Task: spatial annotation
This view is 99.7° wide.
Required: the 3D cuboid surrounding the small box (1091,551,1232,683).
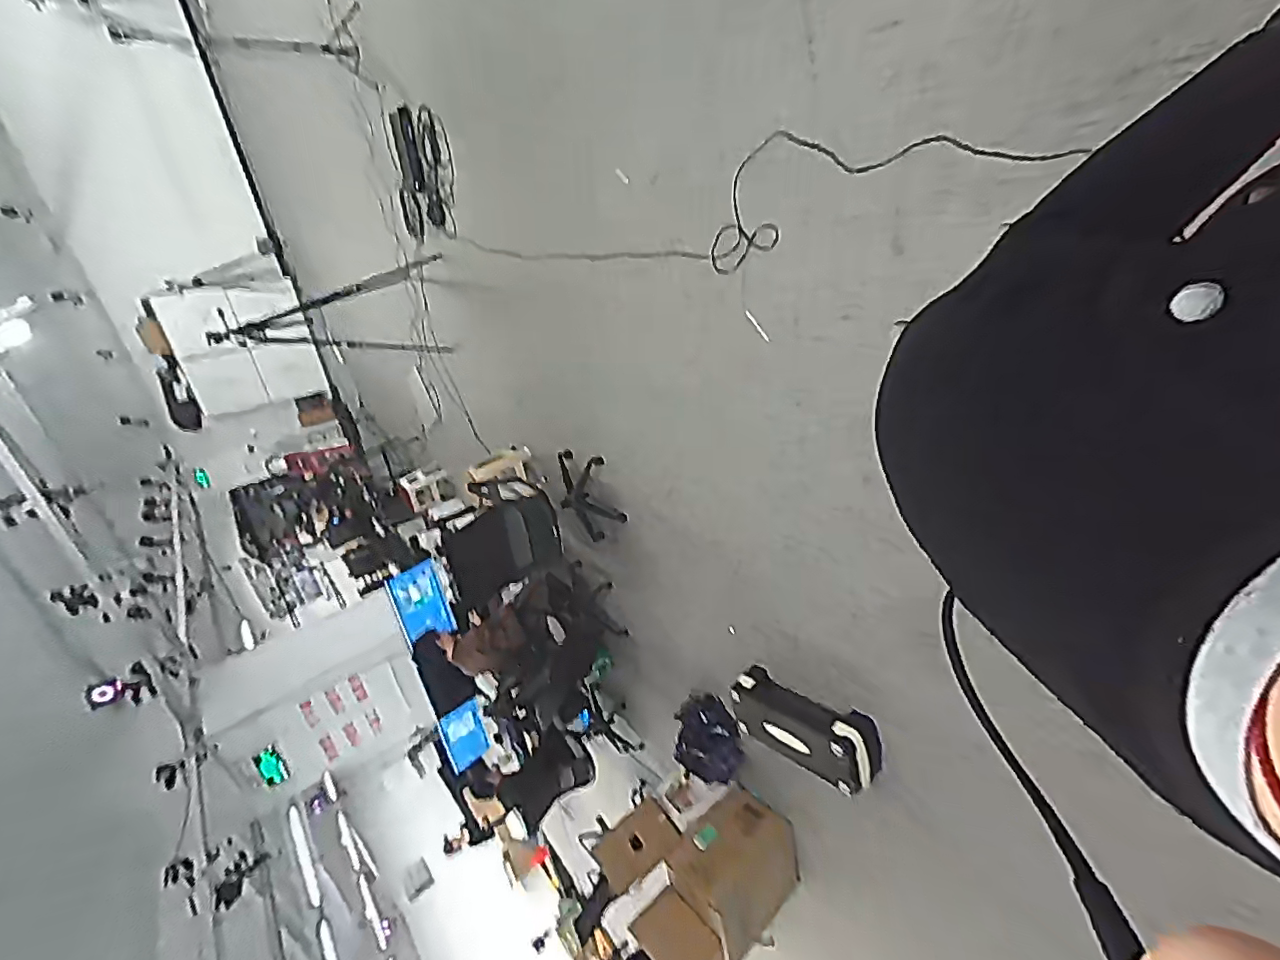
[{"bbox_3d":[1.093,0.276,1.134,0.168,0.176,0.179,24,131,47],"label":"small box"}]
